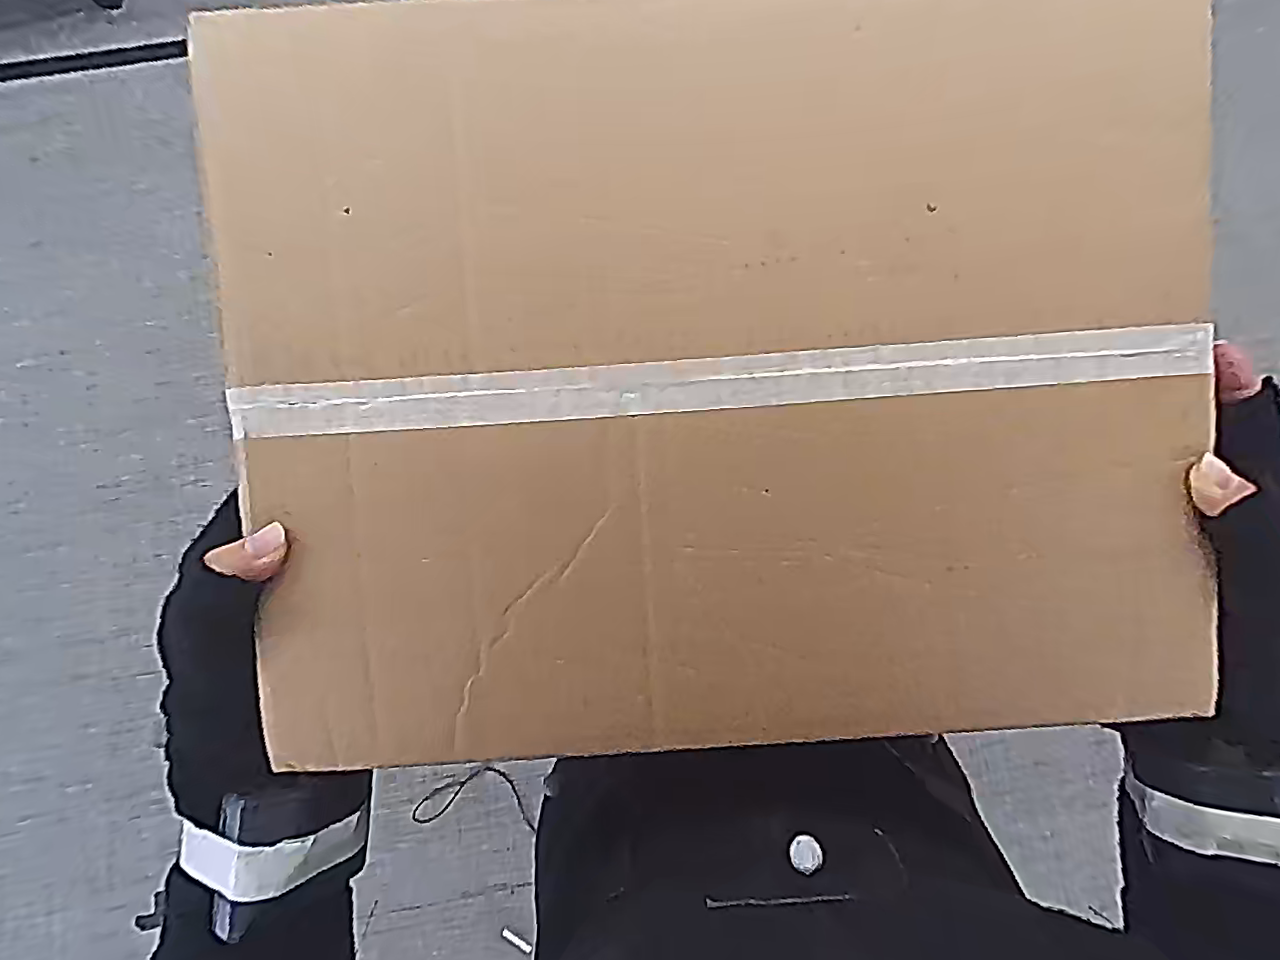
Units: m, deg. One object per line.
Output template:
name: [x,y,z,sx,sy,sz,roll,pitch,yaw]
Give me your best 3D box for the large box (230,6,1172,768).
large box: [0.033,-0.043,0.386,0.408,0.320,0.320,-4,92,0]
